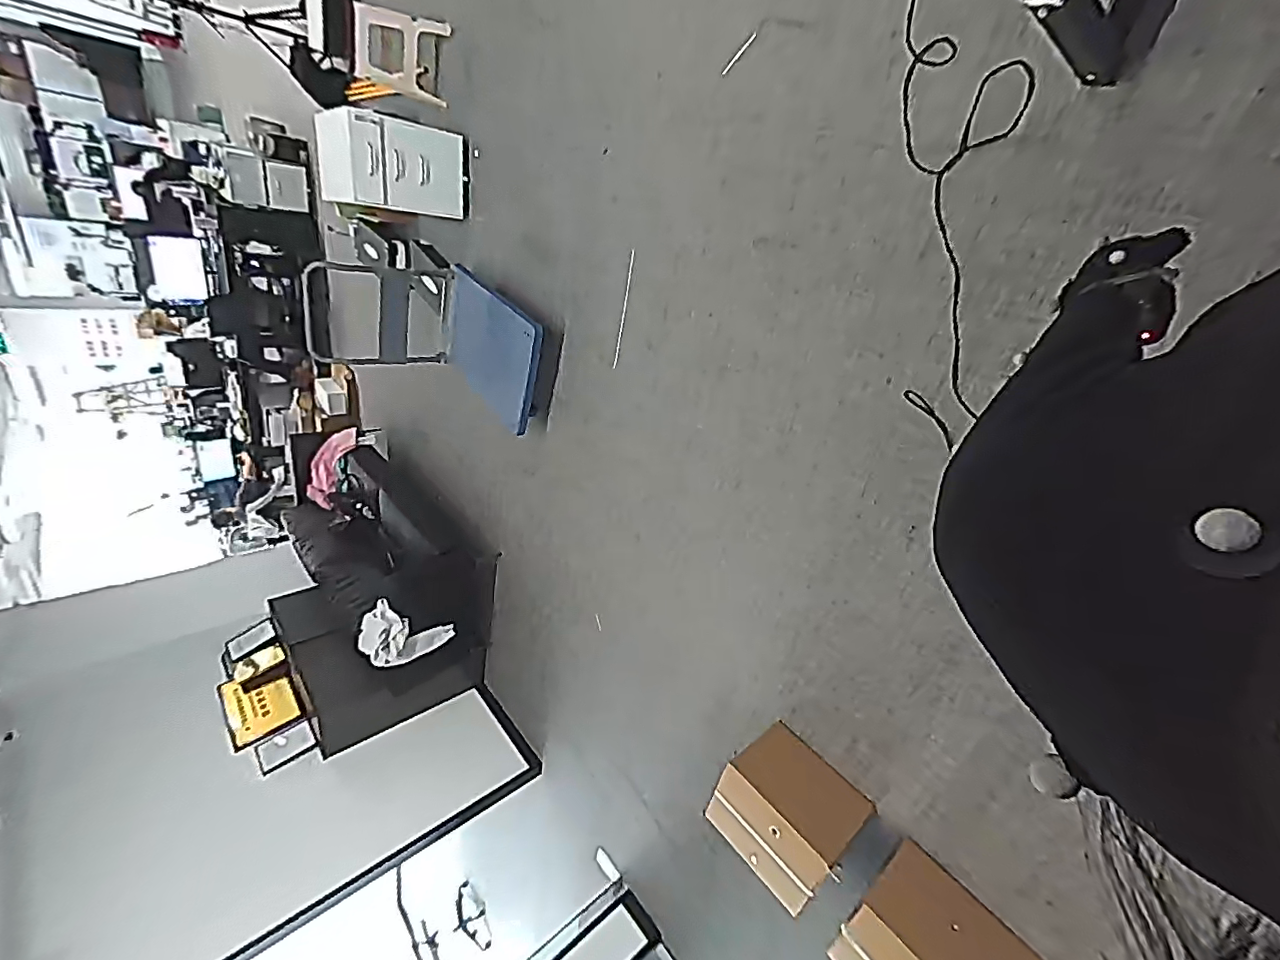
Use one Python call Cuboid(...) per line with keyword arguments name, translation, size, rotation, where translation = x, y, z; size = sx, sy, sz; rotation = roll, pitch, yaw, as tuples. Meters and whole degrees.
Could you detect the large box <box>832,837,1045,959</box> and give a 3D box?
Cuboid(name="large box", translation=(0.849, 1.370, 1.566), size=(0.408, 0.320, 0.320), rotation=(35, 125, 35))
